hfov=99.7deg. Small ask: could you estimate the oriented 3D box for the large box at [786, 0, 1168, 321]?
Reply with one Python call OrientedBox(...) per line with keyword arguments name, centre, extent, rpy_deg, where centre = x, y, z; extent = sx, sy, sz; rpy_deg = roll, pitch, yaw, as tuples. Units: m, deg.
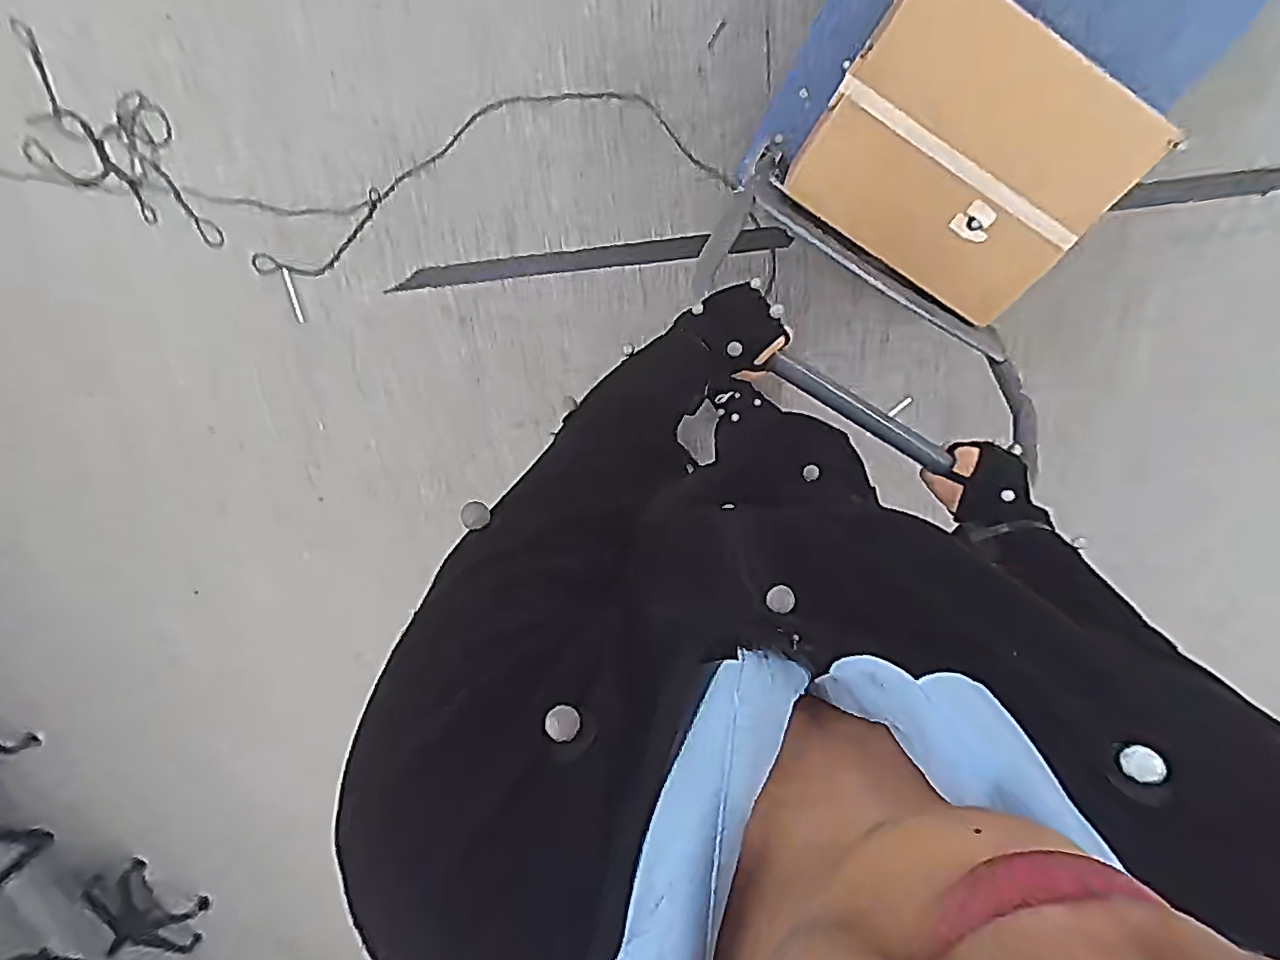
OrientedBox(name="large box", centre=(0.502, -0.545, 0.908), extent=(0.408, 0.320, 0.320), rpy_deg=(31, 129, -6))
